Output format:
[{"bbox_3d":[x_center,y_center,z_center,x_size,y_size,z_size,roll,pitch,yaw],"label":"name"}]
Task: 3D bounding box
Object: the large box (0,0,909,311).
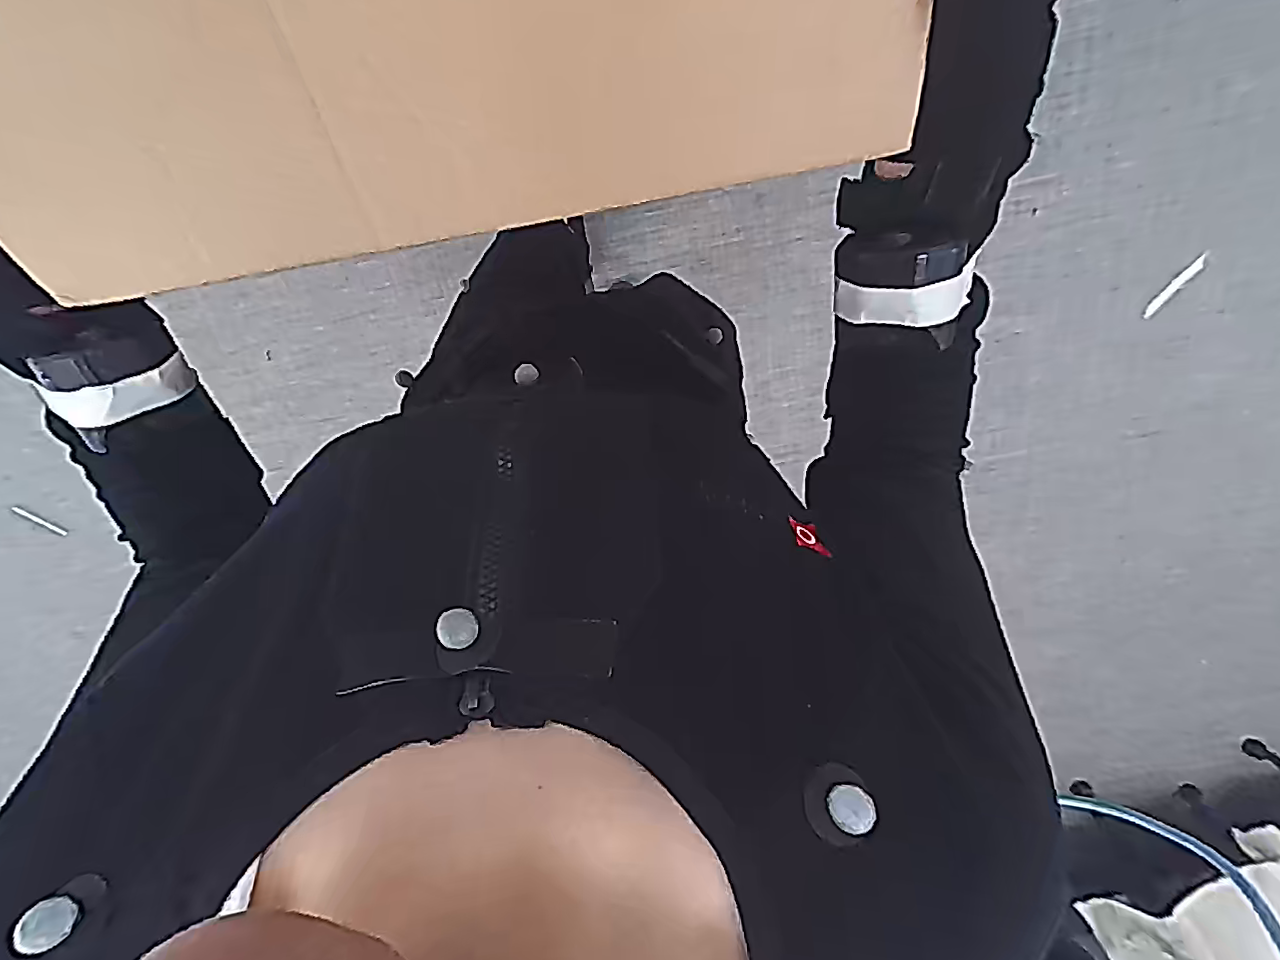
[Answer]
[{"bbox_3d":[-0.112,-0.328,0.268,0.408,0.320,0.320,-8,131,5],"label":"large box"}]
